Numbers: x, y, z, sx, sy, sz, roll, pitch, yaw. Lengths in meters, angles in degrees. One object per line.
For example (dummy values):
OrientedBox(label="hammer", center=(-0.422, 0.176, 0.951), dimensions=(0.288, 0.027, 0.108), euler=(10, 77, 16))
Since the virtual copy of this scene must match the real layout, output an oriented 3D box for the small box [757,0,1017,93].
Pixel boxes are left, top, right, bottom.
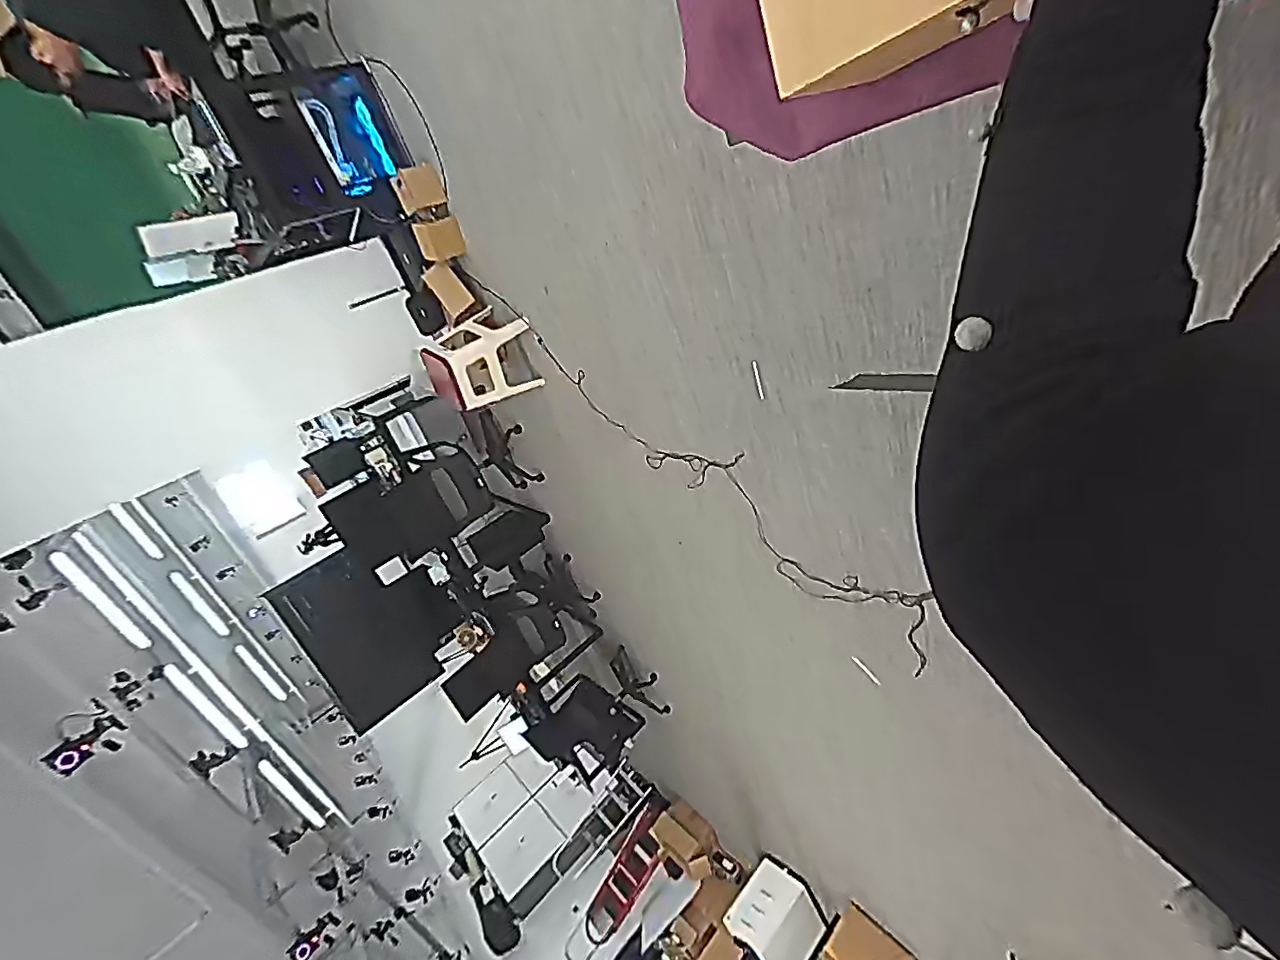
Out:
OrientedBox(label="small box", center=(0.199, -0.425, 0.401), dimensions=(0.179, 0.176, 0.168), euler=(7, 125, 51))
